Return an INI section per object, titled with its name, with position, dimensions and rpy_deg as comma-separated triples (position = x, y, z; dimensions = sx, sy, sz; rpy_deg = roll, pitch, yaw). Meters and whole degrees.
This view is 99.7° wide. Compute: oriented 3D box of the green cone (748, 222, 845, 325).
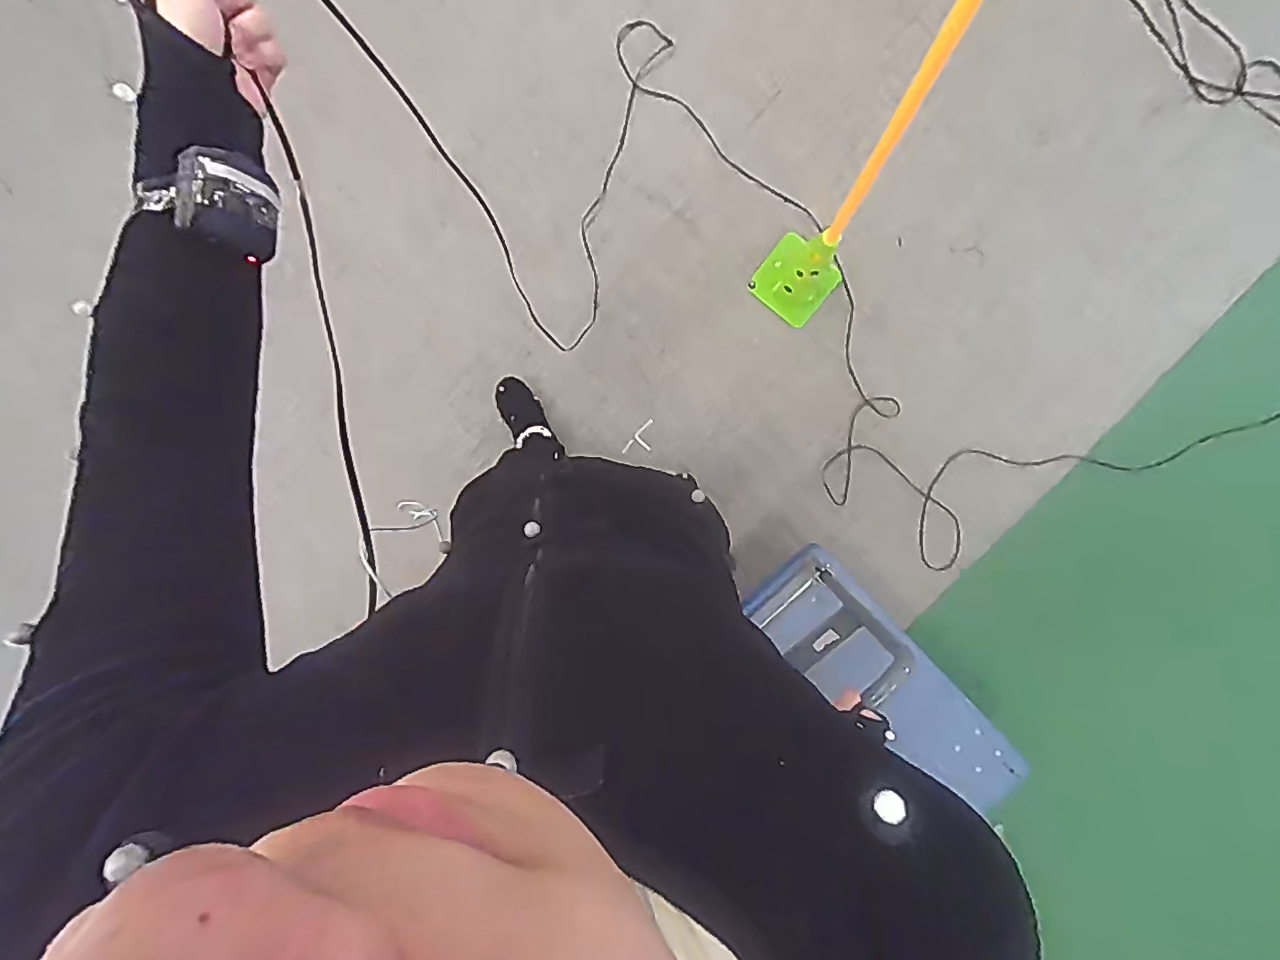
[green cone]
position = 0.427, -0.548, 1.344
dimensions = 0.200, 0.368, 0.202
rpy_deg = 38, 95, -2
